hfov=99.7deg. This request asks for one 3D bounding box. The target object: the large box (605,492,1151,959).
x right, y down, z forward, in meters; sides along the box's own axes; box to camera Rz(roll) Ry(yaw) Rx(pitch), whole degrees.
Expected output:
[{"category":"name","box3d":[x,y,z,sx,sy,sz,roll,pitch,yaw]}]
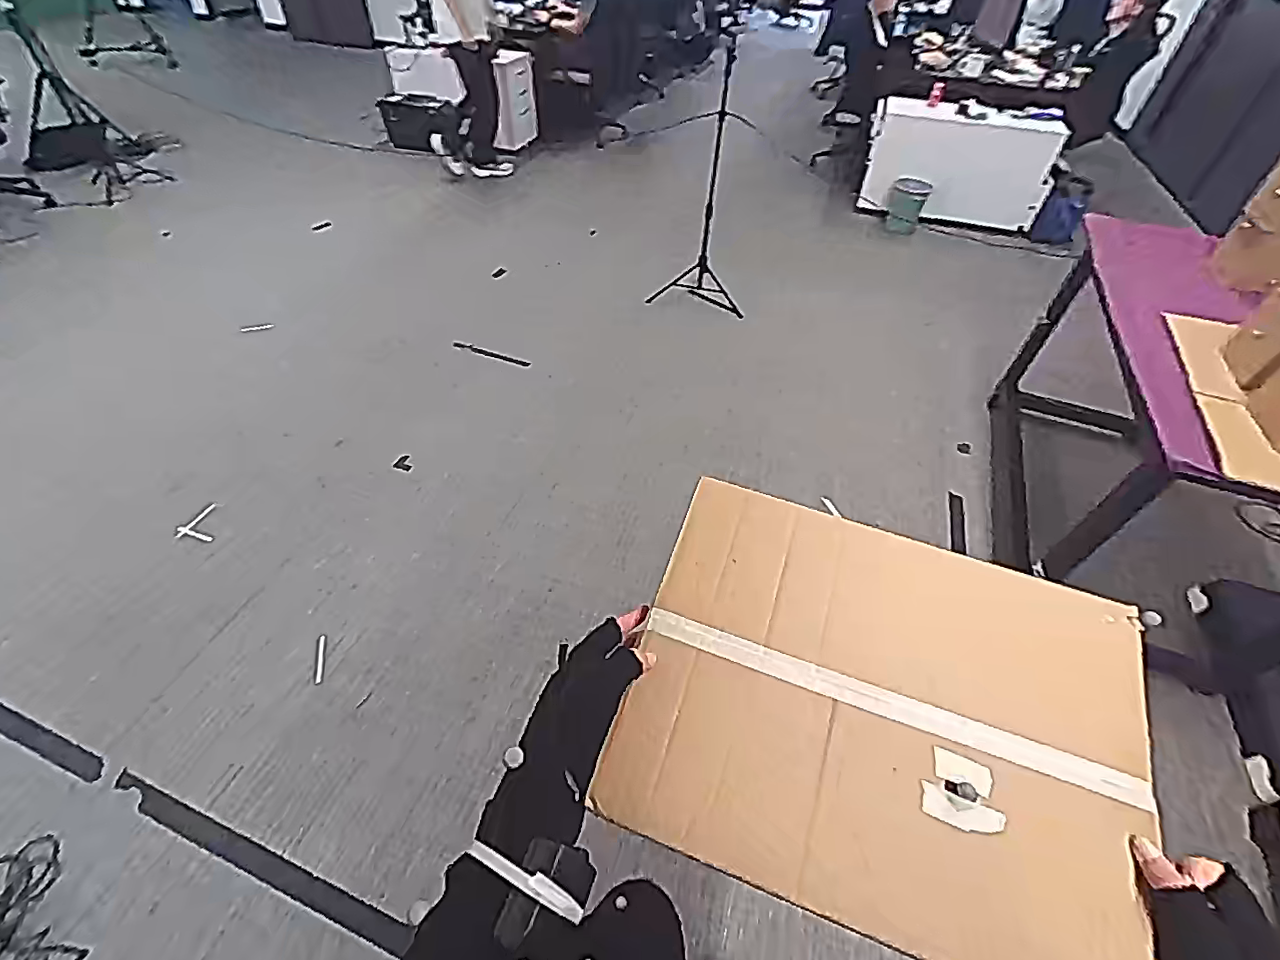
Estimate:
[{"category":"large box","box3d":[0.207,0.263,0.590,0.408,0.320,0.320,17,63,11]}]
